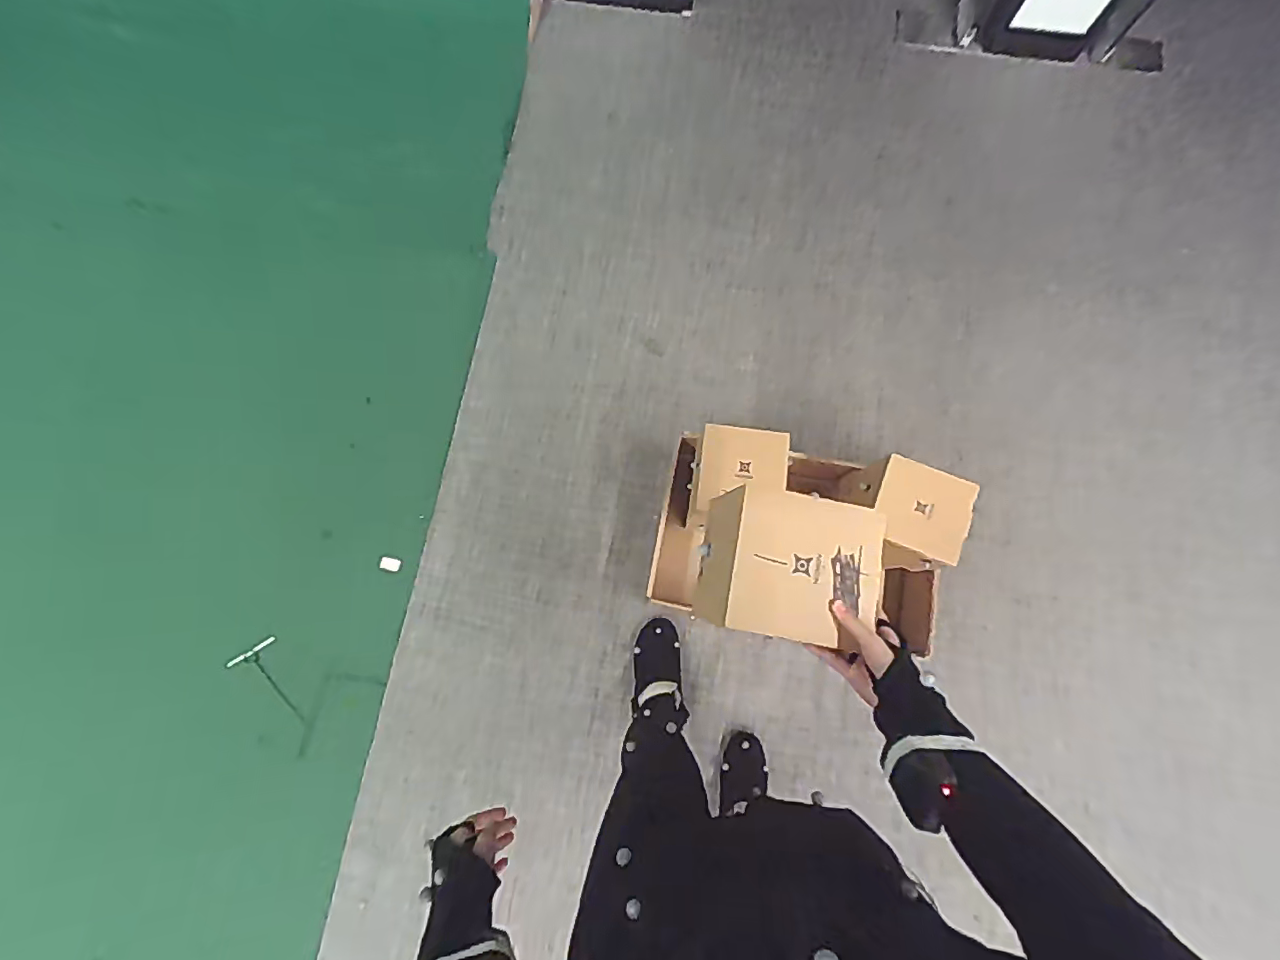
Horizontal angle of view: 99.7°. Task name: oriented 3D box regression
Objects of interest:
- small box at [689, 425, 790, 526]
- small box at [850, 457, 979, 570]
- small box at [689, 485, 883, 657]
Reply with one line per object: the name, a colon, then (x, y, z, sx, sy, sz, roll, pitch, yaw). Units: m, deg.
small box: (0.194, 0.005, 1.093, 0.168, 0.176, 0.179, 8, 79, 3)
small box: (0.523, 0.076, 1.079, 0.179, 0.176, 0.168, 22, 80, 5)
small box: (0.174, 0.113, 0.686, 0.179, 0.176, 0.168, 12, 80, -3)
